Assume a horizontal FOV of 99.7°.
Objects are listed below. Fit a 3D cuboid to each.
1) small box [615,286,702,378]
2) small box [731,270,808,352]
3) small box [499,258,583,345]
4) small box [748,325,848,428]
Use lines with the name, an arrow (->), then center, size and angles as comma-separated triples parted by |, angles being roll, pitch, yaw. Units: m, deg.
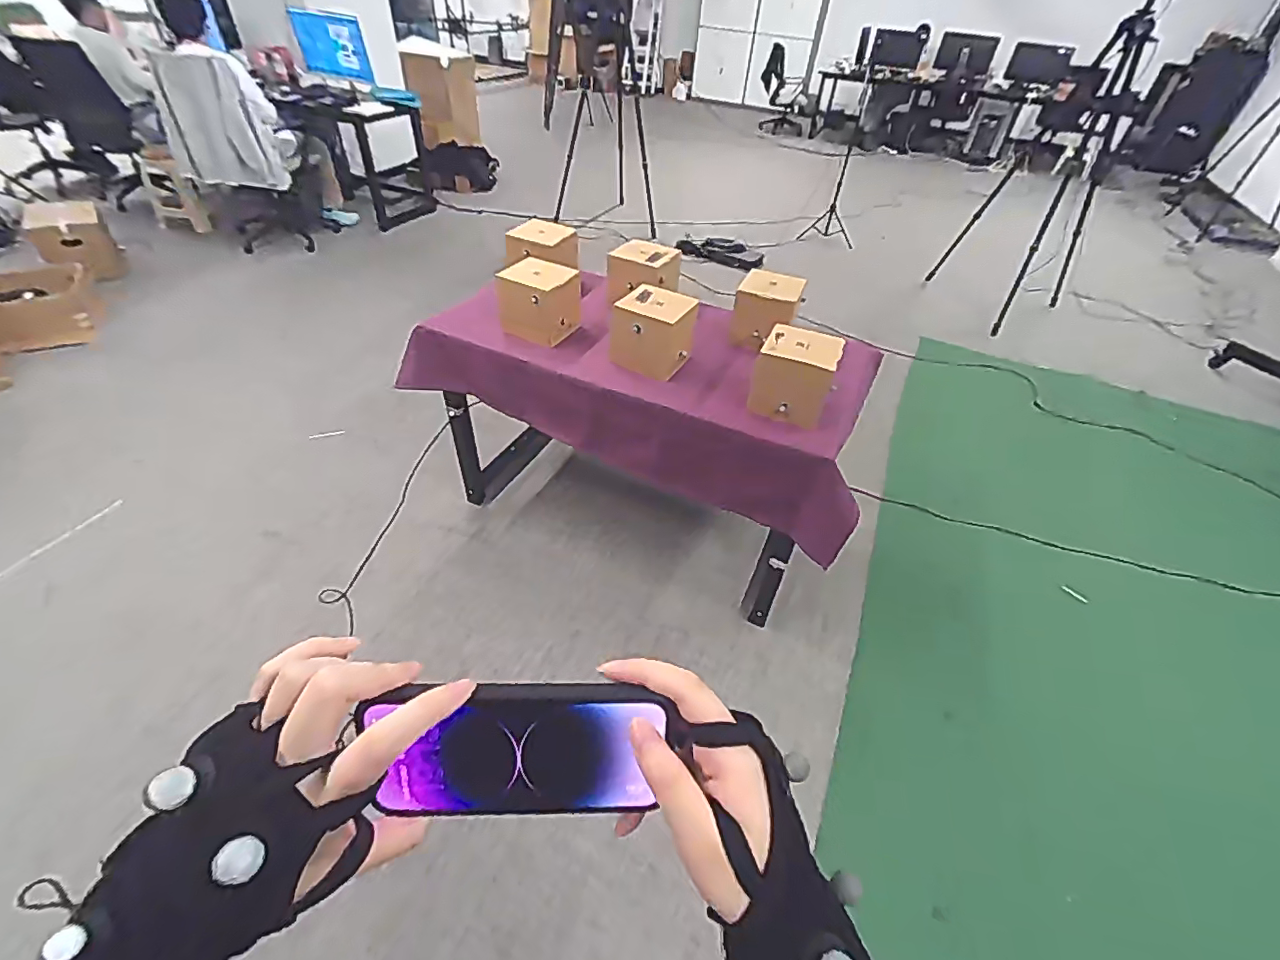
small box -> 0.044, -0.396, 1.452 | 0.179, 0.176, 0.168 | 24, 46, 18
small box -> 0.375, -0.487, 1.580 | 0.168, 0.176, 0.179 | 19, 45, 15
small box -> -0.278, -0.507, 1.542 | 0.179, 0.176, 0.168 | 23, 45, 16
small box -> 0.385, -0.251, 1.328 | 0.179, 0.176, 0.168 | 20, 45, 16
